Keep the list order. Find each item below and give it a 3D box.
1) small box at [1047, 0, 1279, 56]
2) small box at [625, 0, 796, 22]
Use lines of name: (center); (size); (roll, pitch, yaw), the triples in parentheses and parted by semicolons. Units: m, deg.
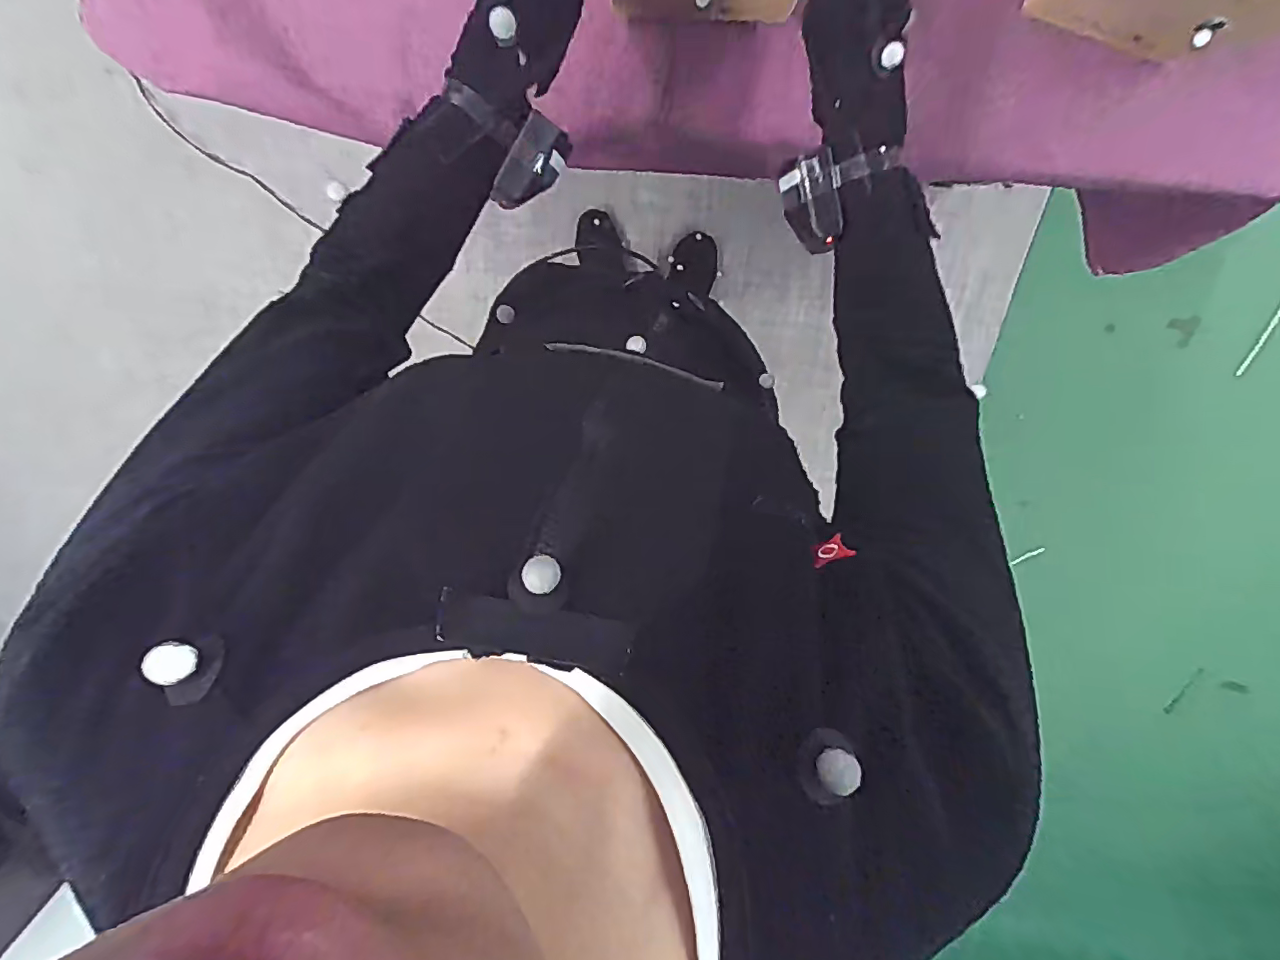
small box: (0.459, -0.462, 0.411); (0.168, 0.176, 0.179); (14, 116, -6)
small box: (0.059, -0.474, 0.398); (0.168, 0.176, 0.179); (3, 113, 1)
